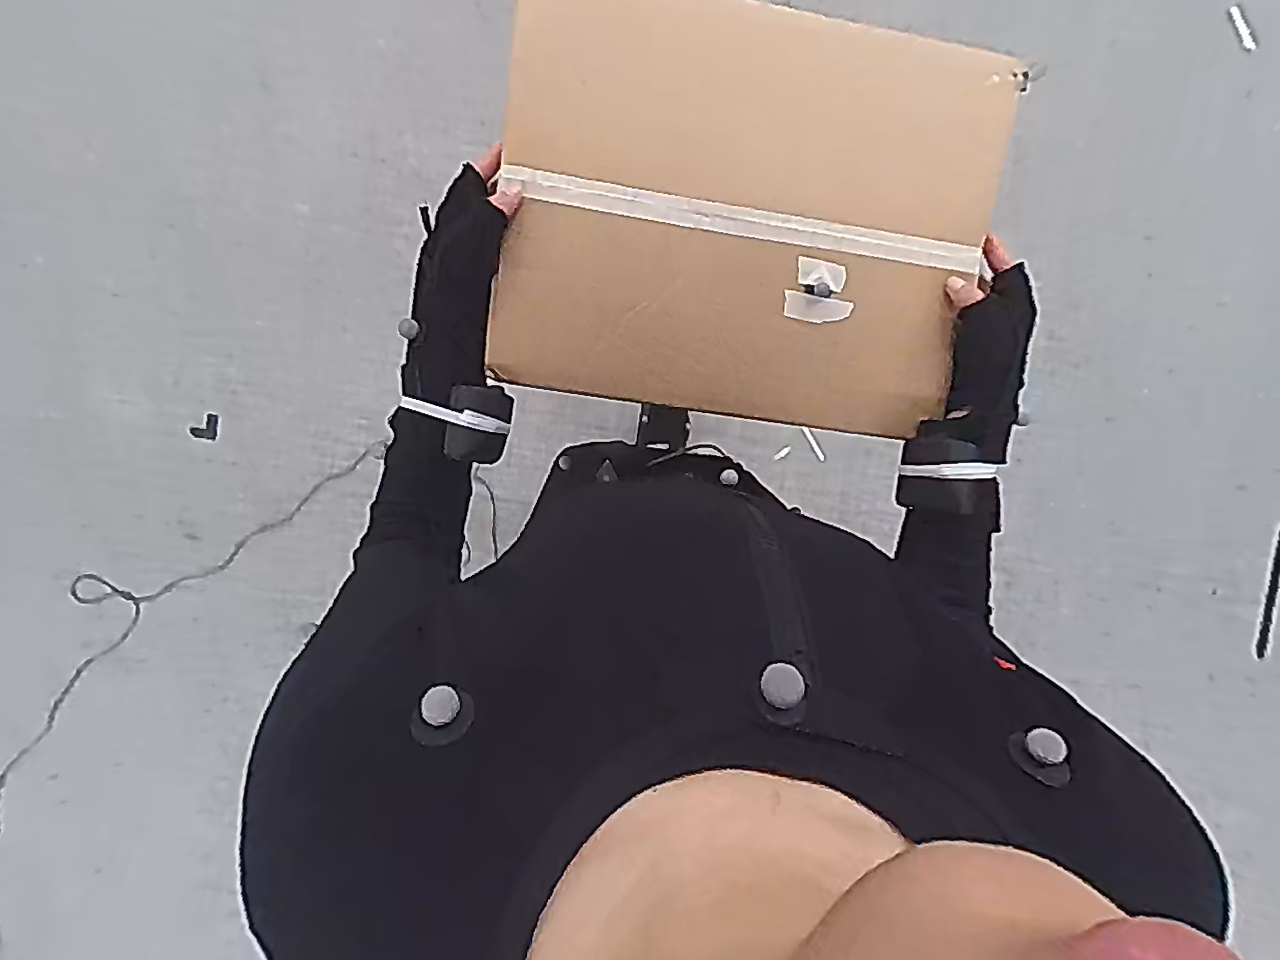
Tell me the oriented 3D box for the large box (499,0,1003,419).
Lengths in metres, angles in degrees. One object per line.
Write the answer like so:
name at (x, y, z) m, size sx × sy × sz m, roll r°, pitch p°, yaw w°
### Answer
large box at (0.076, -0.254, 0.602) m, size 0.408 × 0.320 × 0.320 m, roll 7°, pitch 102°, yaw -6°
